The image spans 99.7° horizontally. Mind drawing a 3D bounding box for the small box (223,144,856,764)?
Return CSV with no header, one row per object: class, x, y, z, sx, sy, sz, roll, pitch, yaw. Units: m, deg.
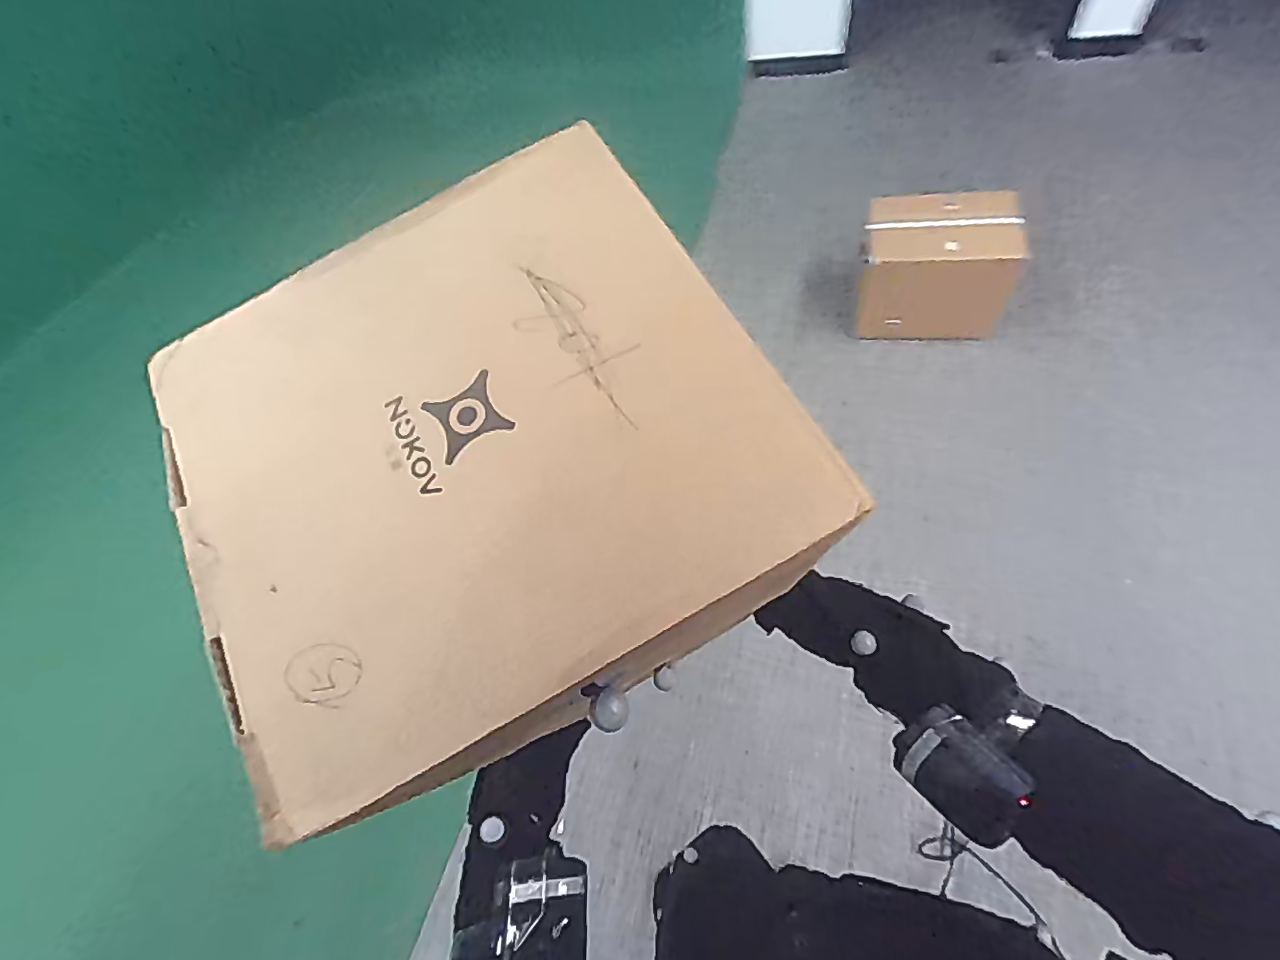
small box,-0.036,0.000,0.256,0.179,0.176,0.168,-29,71,-3
